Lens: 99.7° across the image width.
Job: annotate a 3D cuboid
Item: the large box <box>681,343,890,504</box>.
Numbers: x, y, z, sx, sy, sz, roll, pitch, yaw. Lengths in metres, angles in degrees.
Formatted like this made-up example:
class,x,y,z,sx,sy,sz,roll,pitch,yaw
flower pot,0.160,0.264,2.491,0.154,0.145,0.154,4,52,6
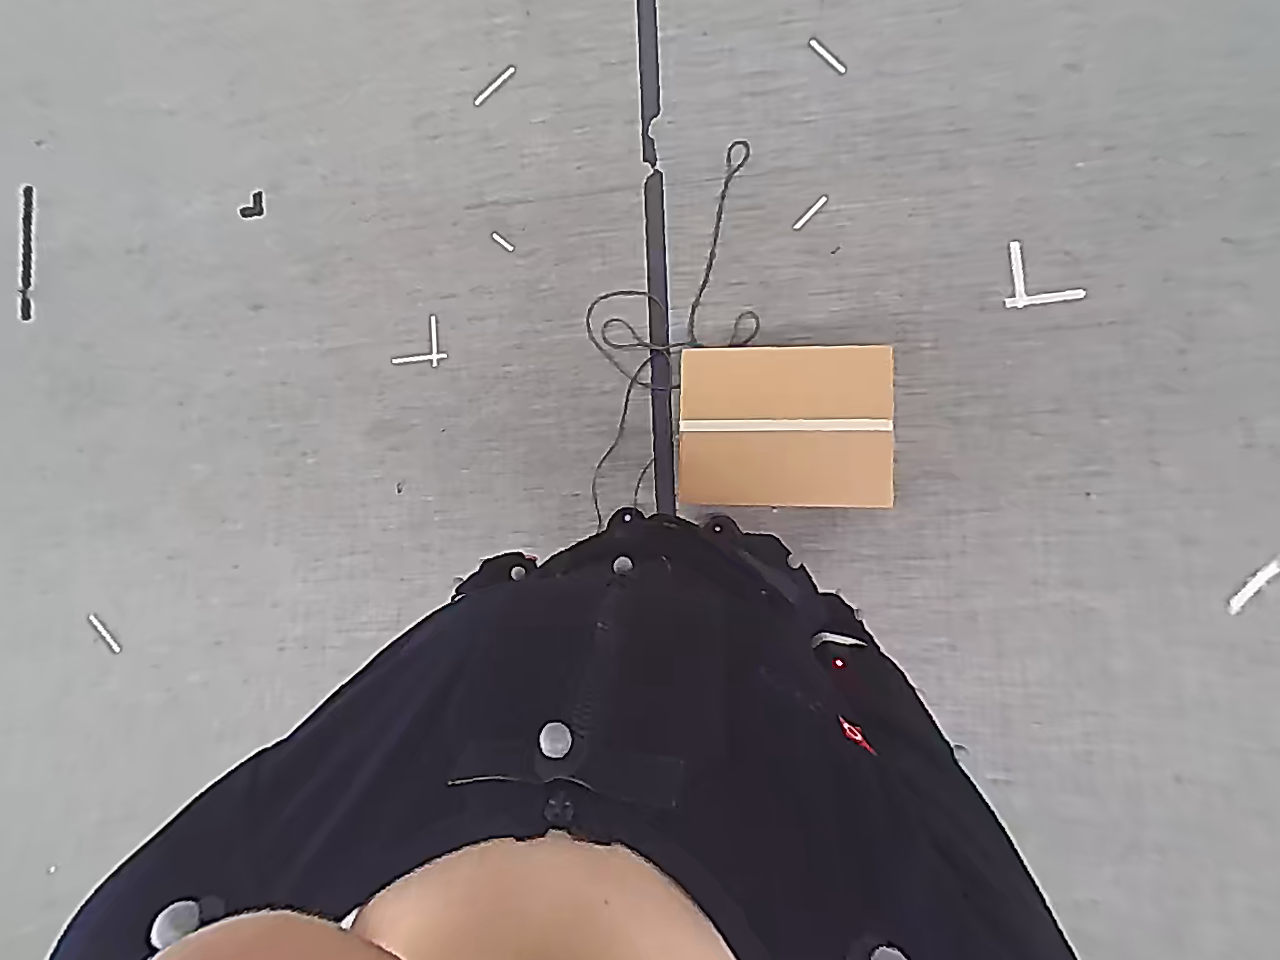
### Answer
class,x,y,z,sx,sy,sz,roll,pitch,yaw
large box,0.297,-0.106,1.206,0.408,0.320,0.320,1,89,6
